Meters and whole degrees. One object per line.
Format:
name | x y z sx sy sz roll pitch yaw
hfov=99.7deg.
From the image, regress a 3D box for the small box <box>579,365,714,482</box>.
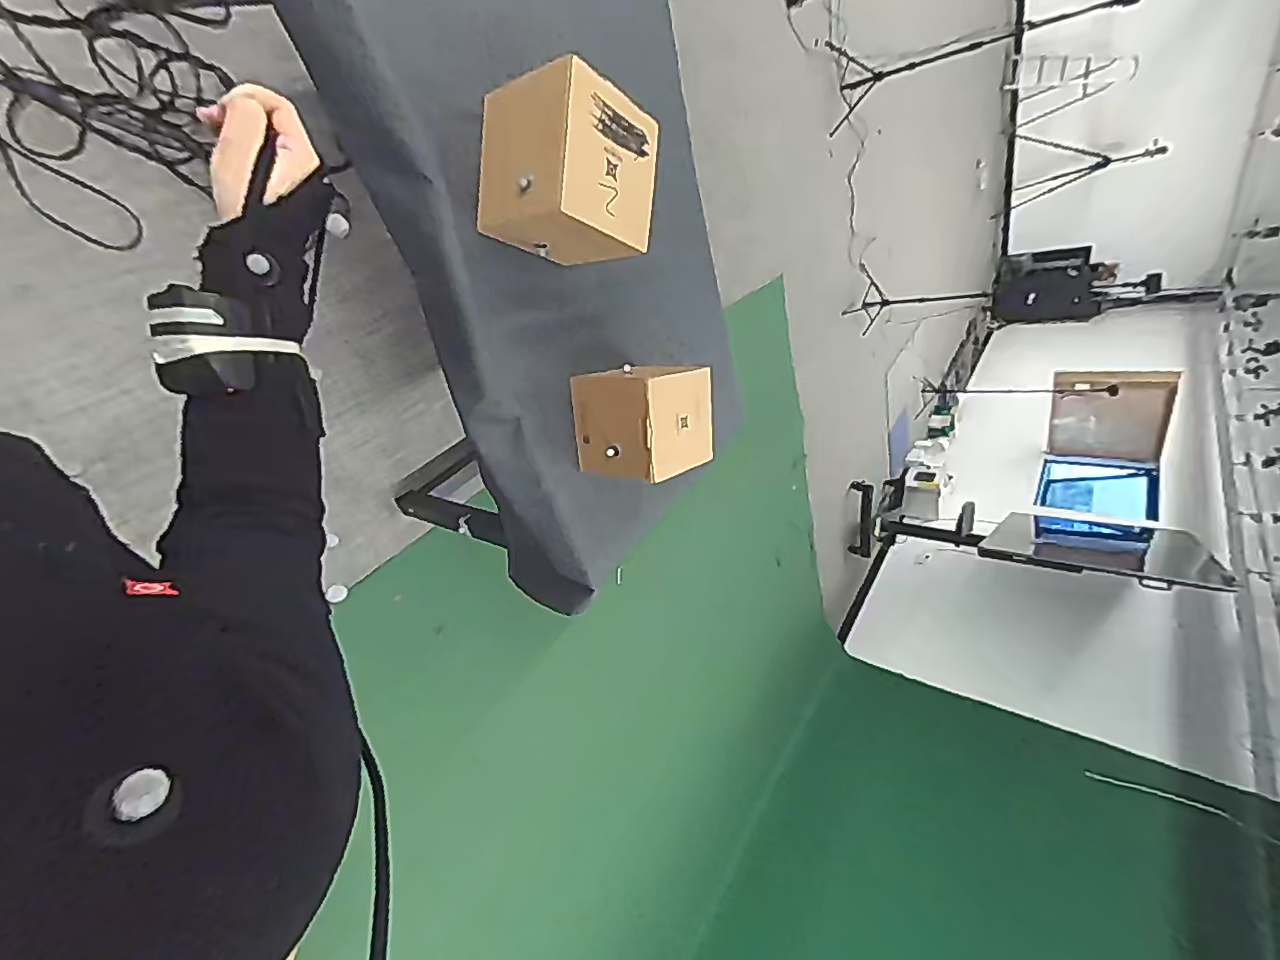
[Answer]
small box | 0.009 -0.104 0.921 0.179 0.176 0.168 -23 116 -48
